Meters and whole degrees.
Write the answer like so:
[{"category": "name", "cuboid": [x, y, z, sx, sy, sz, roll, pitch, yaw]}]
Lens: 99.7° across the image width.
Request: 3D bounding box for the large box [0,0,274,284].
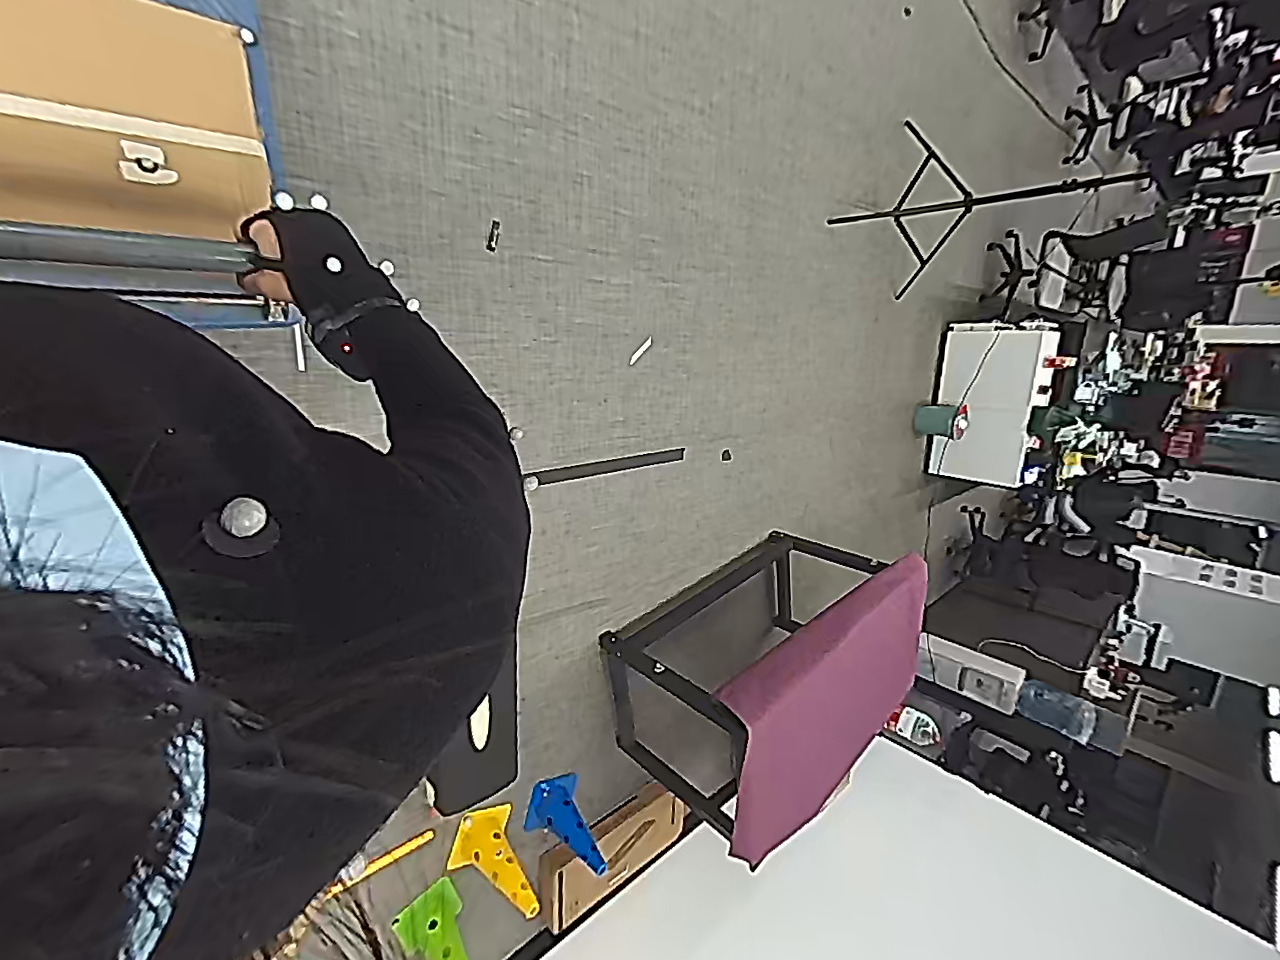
[{"category": "large box", "cuboid": [-0.812, -0.464, 0.772, 0.408, 0.320, 0.320, -13, 109, -41]}]
